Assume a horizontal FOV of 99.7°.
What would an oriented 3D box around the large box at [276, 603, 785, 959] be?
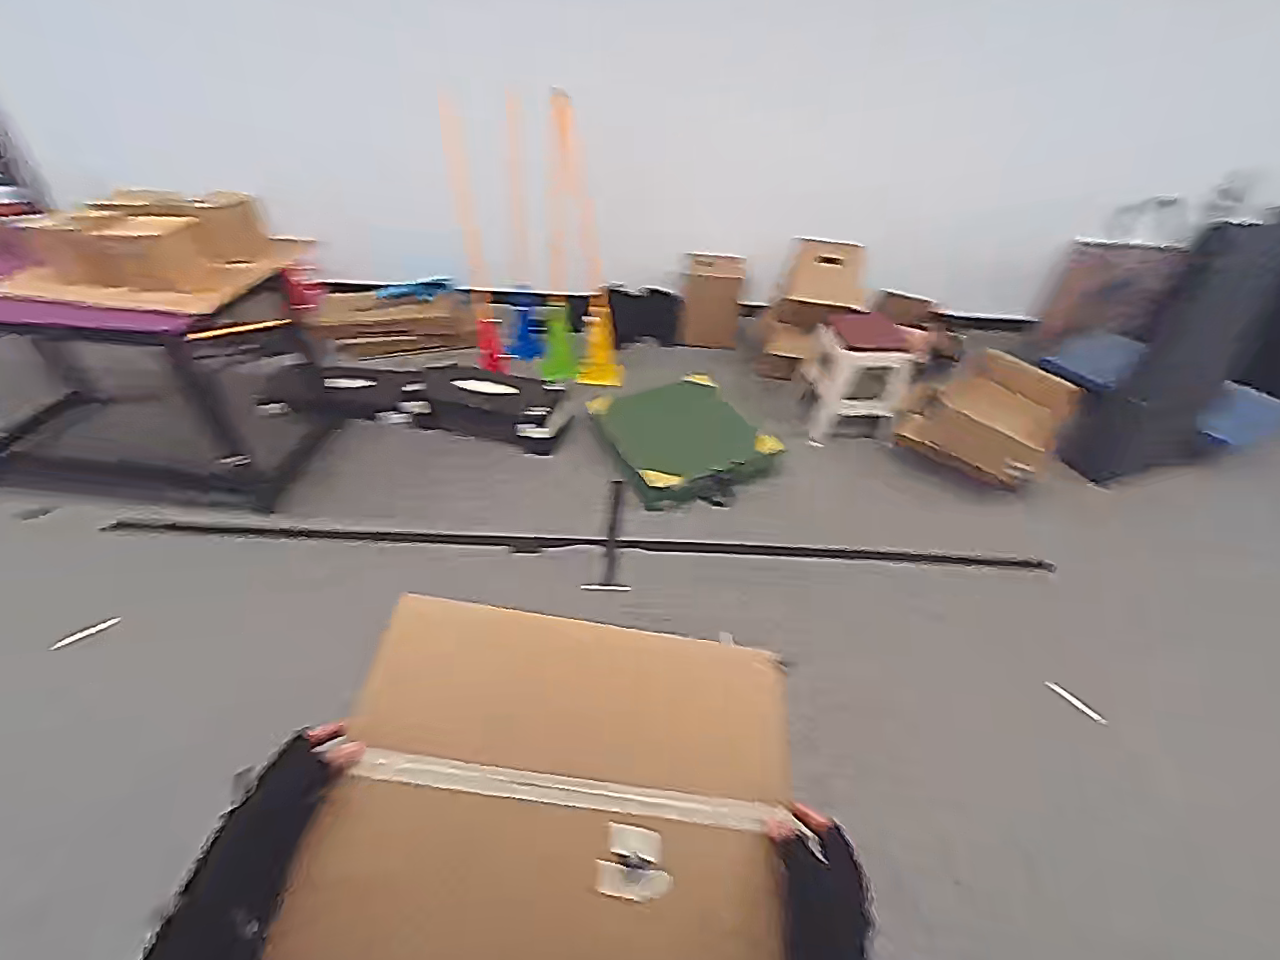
[{"bbox_3d":[-0.087,0.369,0.616,0.408,0.320,0.320,9,53,-2],"label":"large box"}]
